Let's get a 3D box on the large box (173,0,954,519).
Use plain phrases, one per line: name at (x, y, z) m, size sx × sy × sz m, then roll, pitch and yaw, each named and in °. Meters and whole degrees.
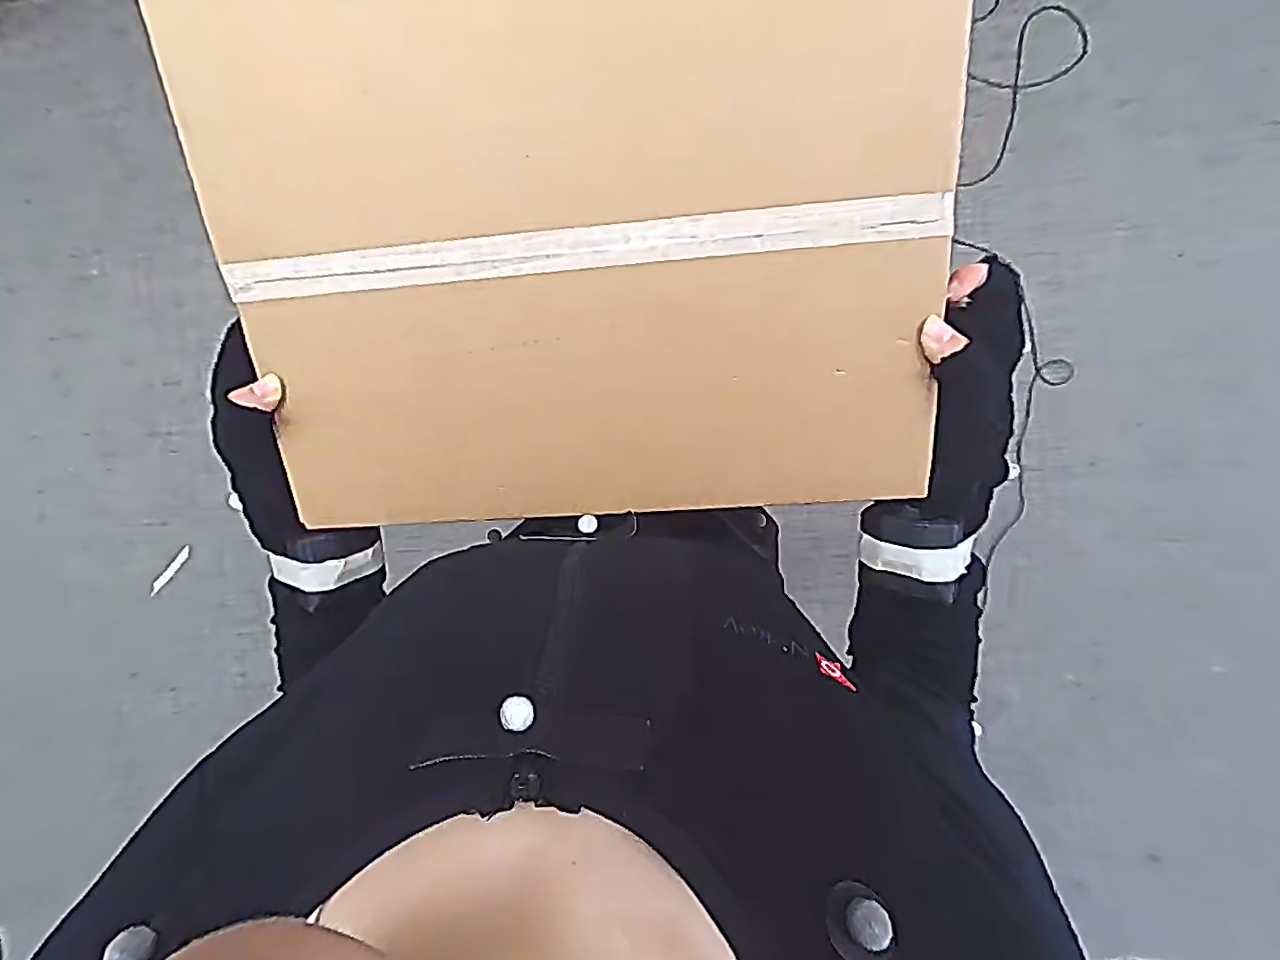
large box at (-0.028, -0.178, 0.450) m, size 0.408 × 0.320 × 0.320 m, roll -3°, pitch 109°, yaw 5°
